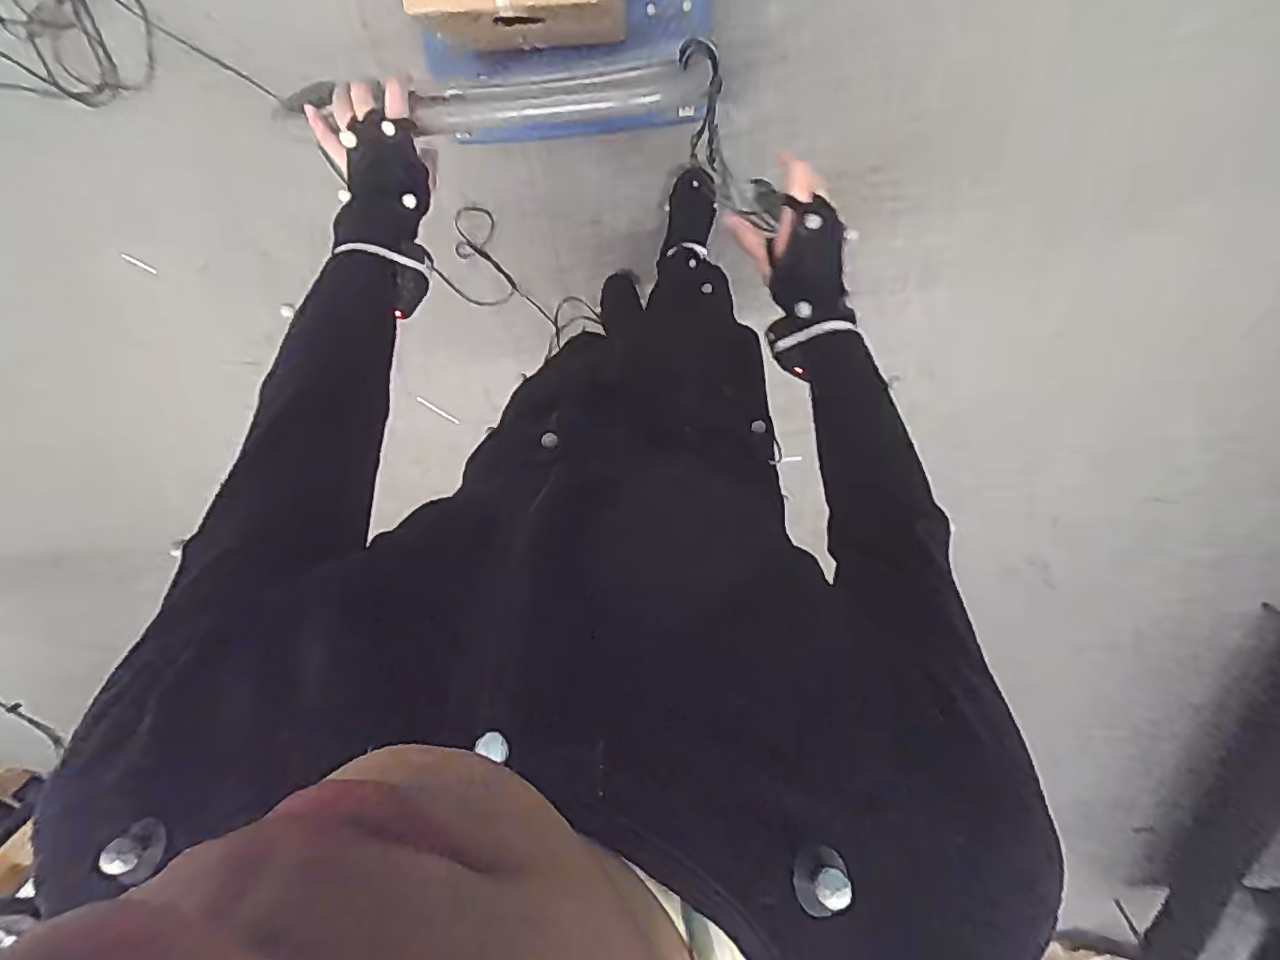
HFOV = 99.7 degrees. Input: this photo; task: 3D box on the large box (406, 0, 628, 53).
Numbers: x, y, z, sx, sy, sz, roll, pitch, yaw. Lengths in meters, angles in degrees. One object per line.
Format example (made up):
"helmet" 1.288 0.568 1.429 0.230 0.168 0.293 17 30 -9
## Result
"large box" -0.194 -0.944 0.832 0.320 0.320 0.408 0 120 4
